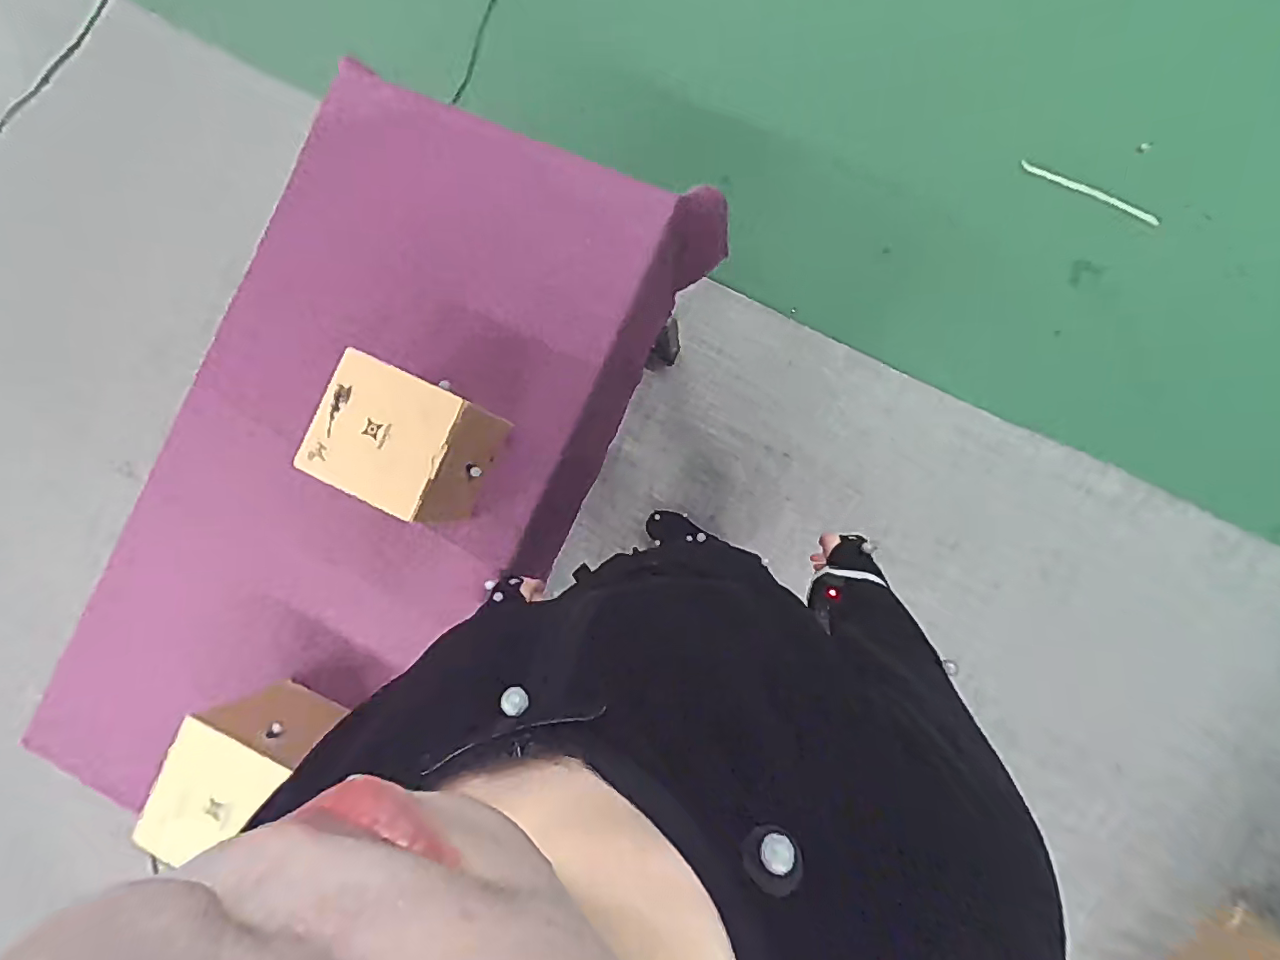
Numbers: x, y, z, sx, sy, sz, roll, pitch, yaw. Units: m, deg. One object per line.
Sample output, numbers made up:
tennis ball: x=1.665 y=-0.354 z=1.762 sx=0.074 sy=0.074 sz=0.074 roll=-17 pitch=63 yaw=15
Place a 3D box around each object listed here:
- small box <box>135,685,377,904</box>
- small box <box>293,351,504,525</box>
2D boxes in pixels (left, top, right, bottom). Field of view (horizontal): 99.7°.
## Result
small box: x=-0.499 y=0.403 z=0.732 sx=0.179 sy=0.176 sz=0.168 roll=23 pitch=88 yaw=7
small box: x=-0.313 y=-0.050 z=0.743 sx=0.179 sy=0.176 sz=0.168 roll=25 pitch=89 yaw=6
